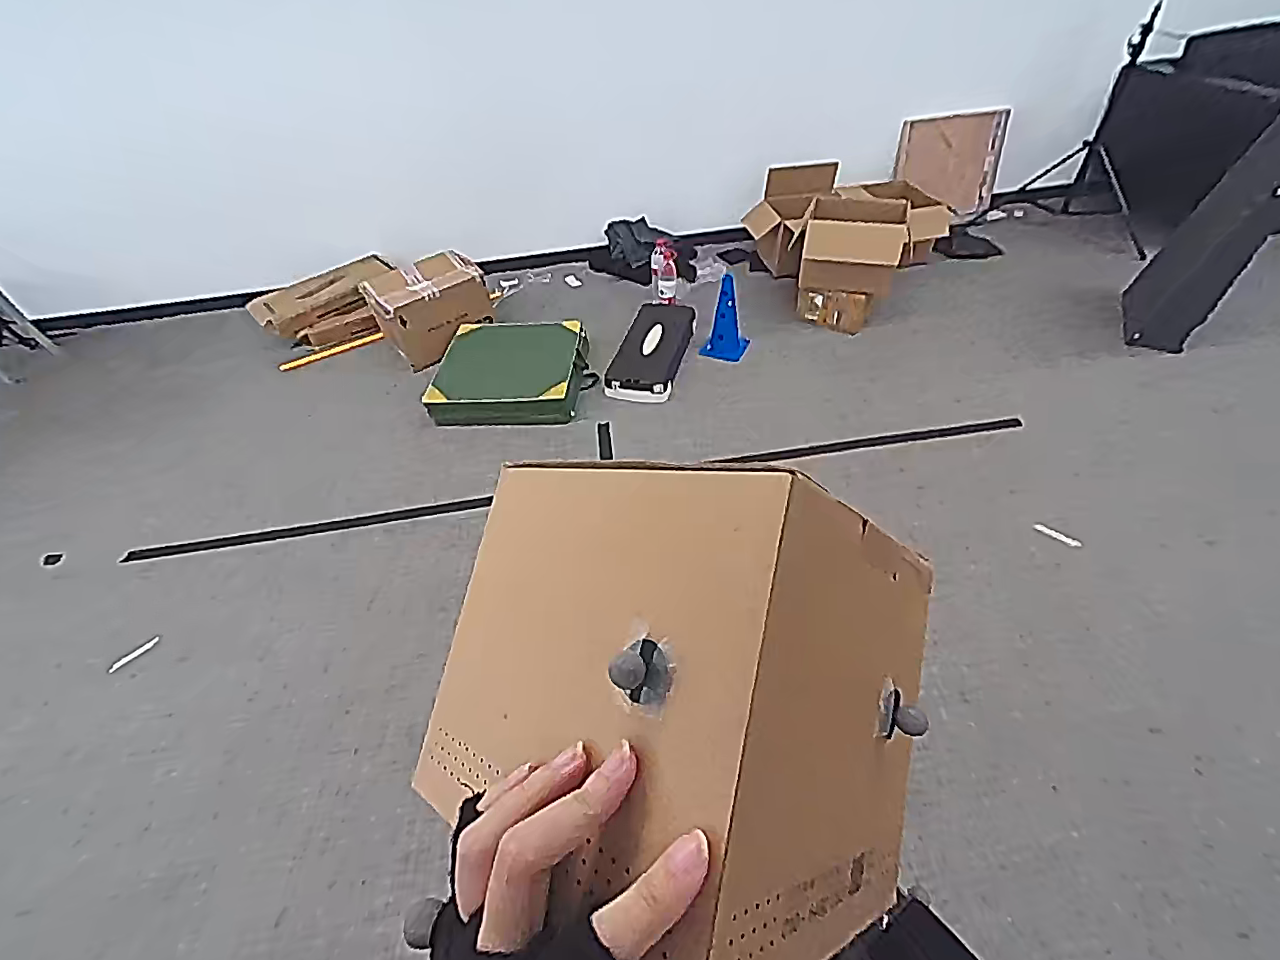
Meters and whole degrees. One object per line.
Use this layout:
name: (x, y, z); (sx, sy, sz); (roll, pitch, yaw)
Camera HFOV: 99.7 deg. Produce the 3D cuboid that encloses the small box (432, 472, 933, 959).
small box: (0.024, 0.102, 0.277); (0.179, 0.168, 0.176); (2, 74, 44)
